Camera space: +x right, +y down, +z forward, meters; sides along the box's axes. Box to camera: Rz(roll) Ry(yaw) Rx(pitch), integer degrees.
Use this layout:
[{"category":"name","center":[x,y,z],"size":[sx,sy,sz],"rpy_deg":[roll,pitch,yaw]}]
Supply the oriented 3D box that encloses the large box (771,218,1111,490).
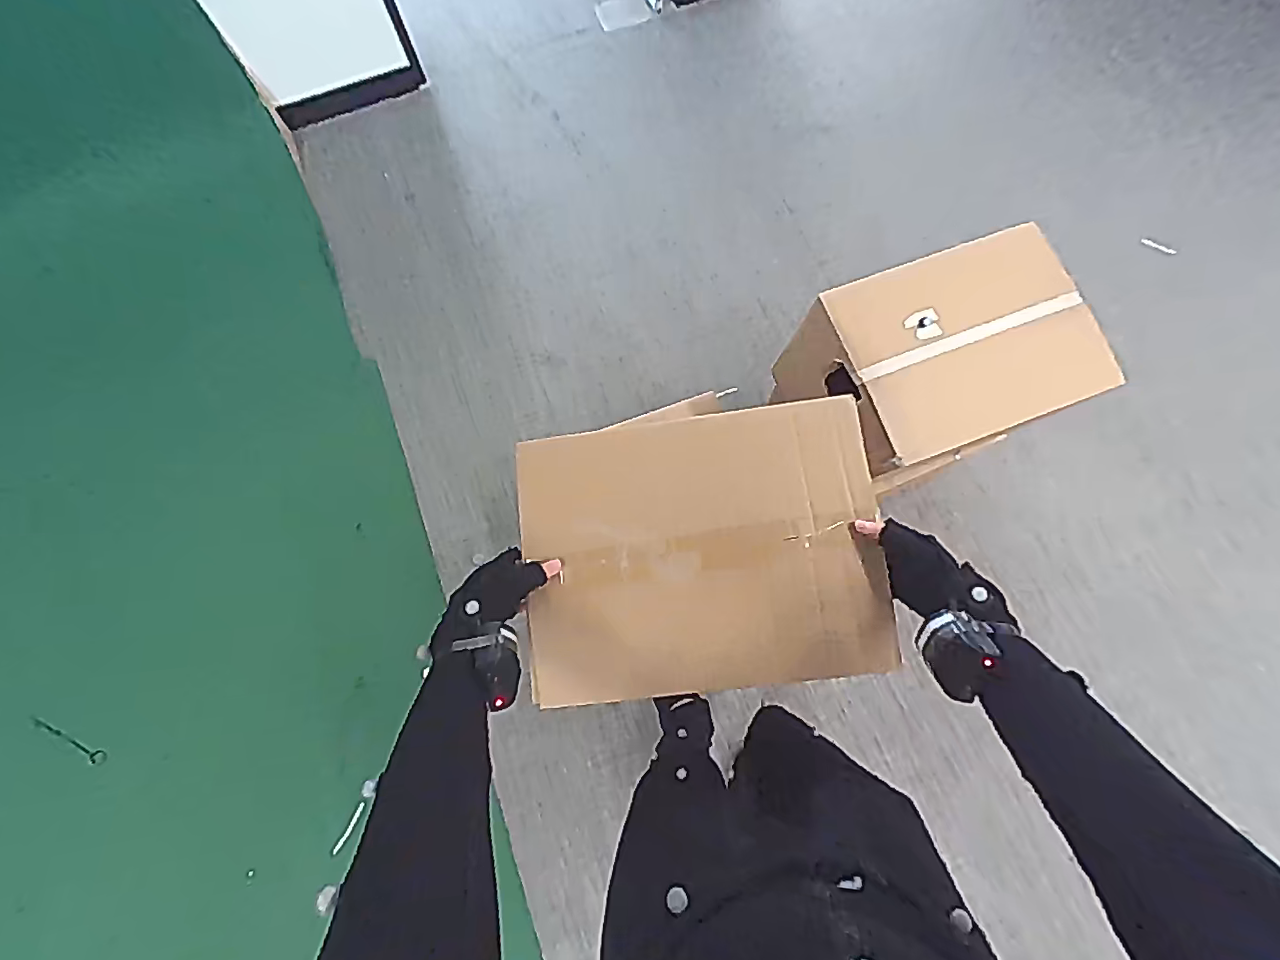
[{"category":"large box","center":[0.519,-0.208,1.018],"size":[0.408,0.320,0.320],"rpy_deg":[-20,80,-3]}]
